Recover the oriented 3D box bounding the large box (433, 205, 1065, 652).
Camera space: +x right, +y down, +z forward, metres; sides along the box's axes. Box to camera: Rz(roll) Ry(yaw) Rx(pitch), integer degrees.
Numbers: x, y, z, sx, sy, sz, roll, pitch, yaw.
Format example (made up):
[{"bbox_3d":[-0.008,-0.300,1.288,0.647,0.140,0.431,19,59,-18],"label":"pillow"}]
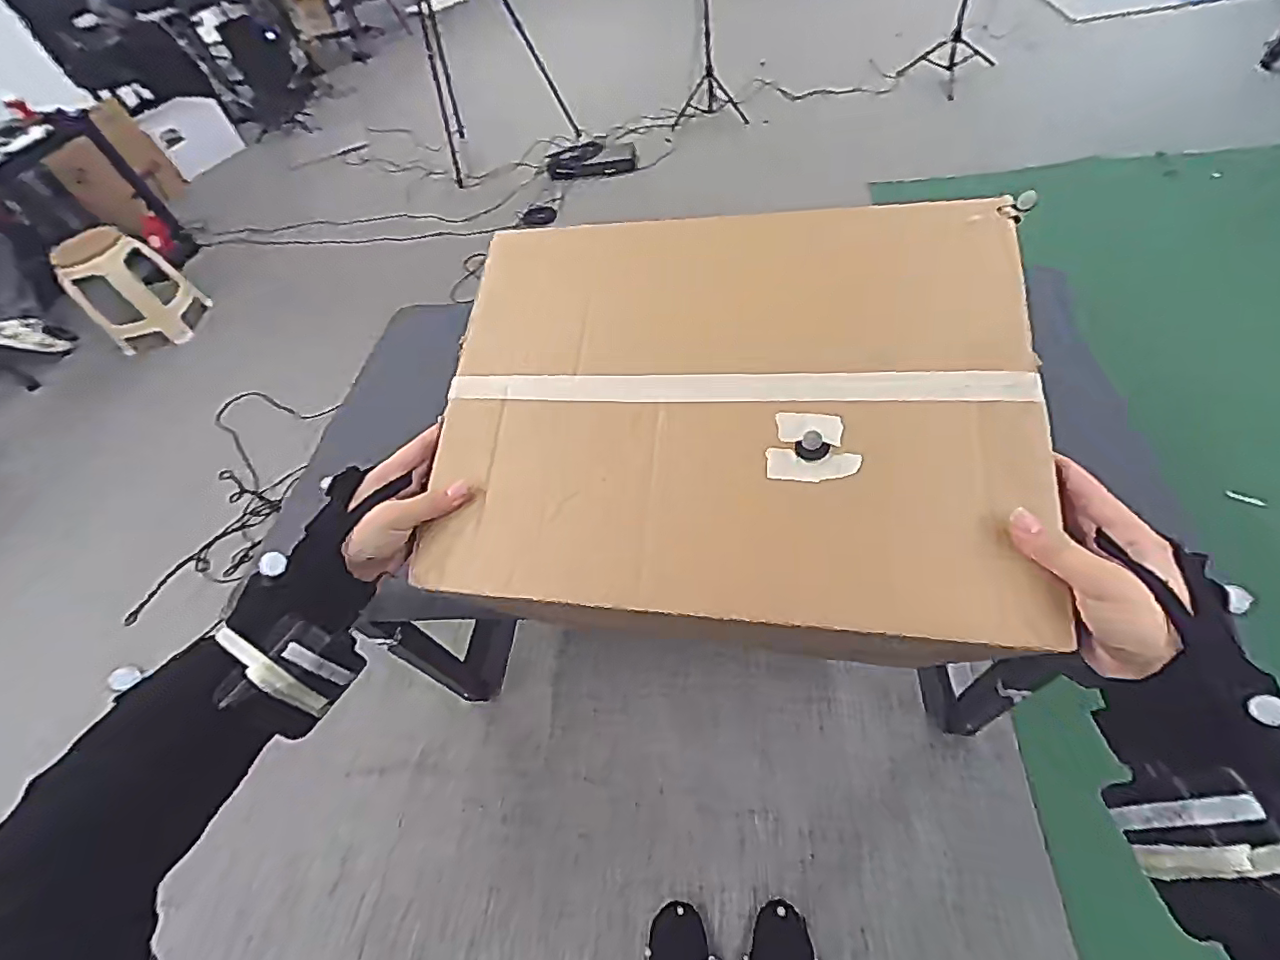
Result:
[{"bbox_3d":[0.086,-0.017,0.528,0.408,0.320,0.320,3,71,12],"label":"large box"}]
